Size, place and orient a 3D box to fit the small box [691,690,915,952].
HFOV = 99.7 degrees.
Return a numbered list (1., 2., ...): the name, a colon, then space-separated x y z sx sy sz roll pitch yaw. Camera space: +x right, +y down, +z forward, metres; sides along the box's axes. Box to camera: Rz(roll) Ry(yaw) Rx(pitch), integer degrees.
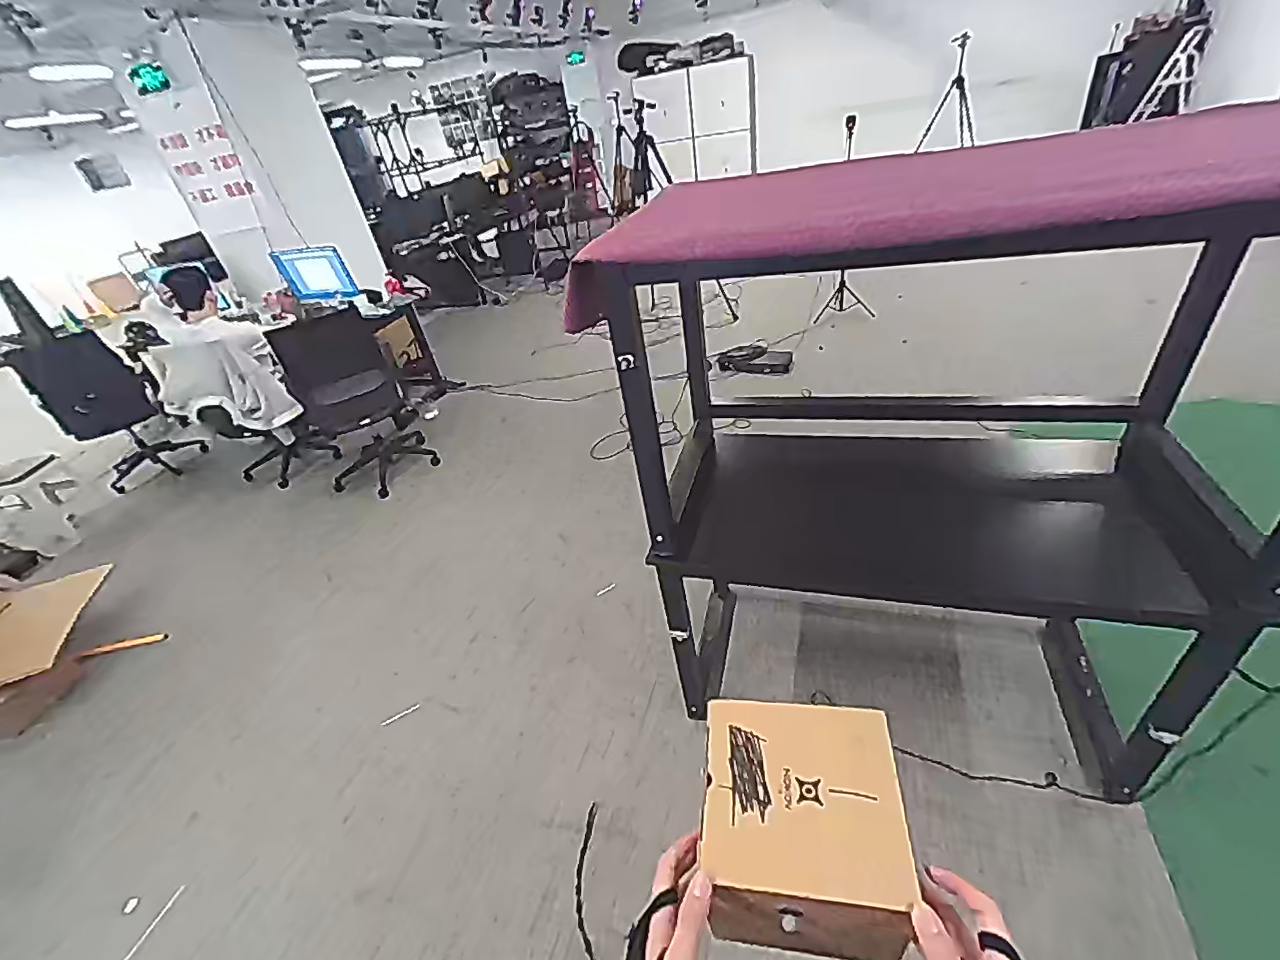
1. small box: 0.154 0.333 0.537 0.179 0.176 0.168 -1 38 14
